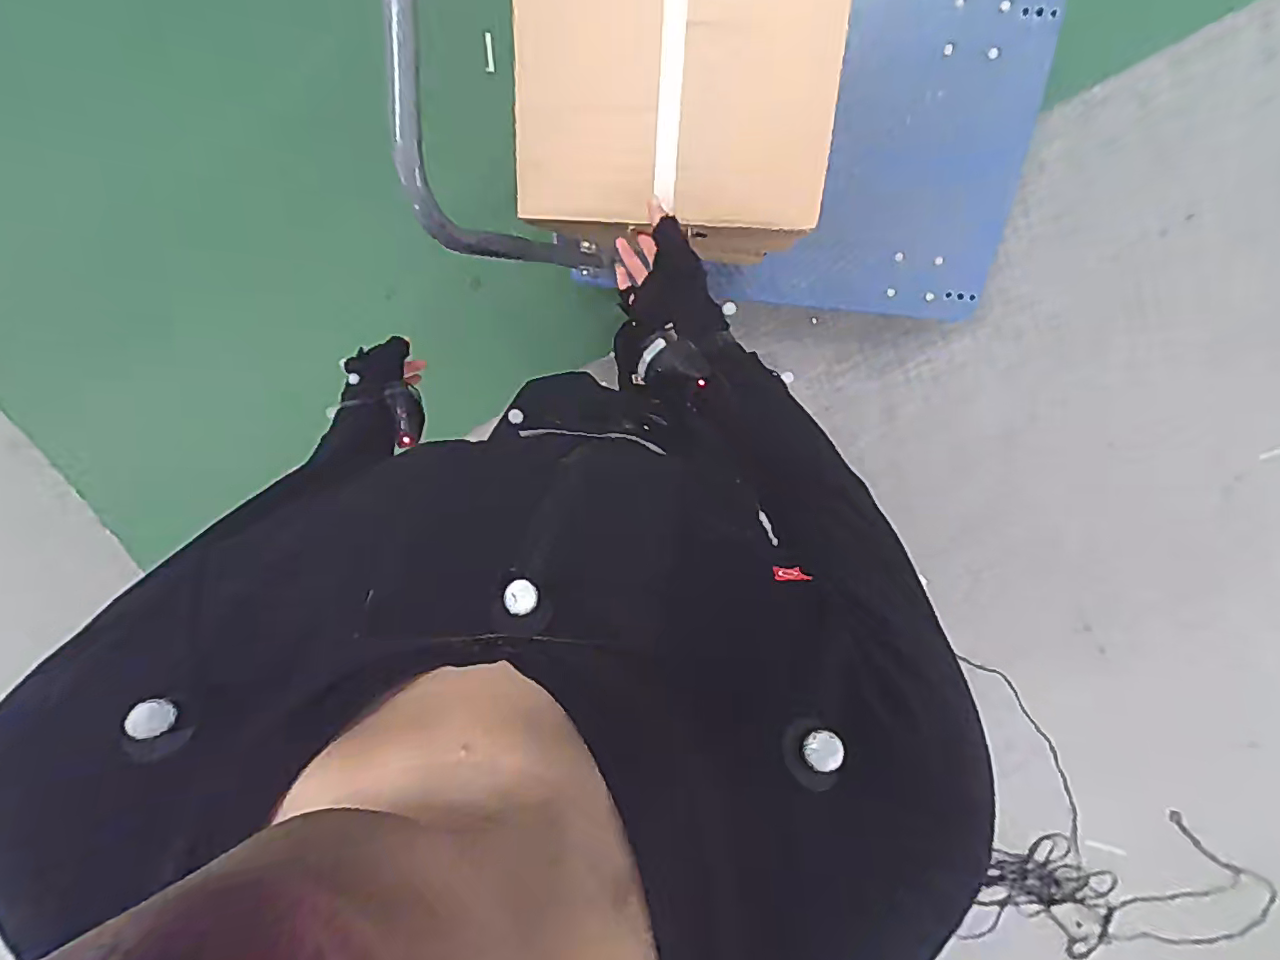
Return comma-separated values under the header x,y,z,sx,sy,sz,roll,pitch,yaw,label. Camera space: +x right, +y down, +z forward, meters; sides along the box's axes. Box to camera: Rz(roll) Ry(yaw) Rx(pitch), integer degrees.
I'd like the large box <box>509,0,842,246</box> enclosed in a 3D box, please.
x,y,z,sx,sy,sz,roll,pitch,yaw,label
0.052,-0.502,0.628,0.320,0.320,0.408,6,109,8,large box
